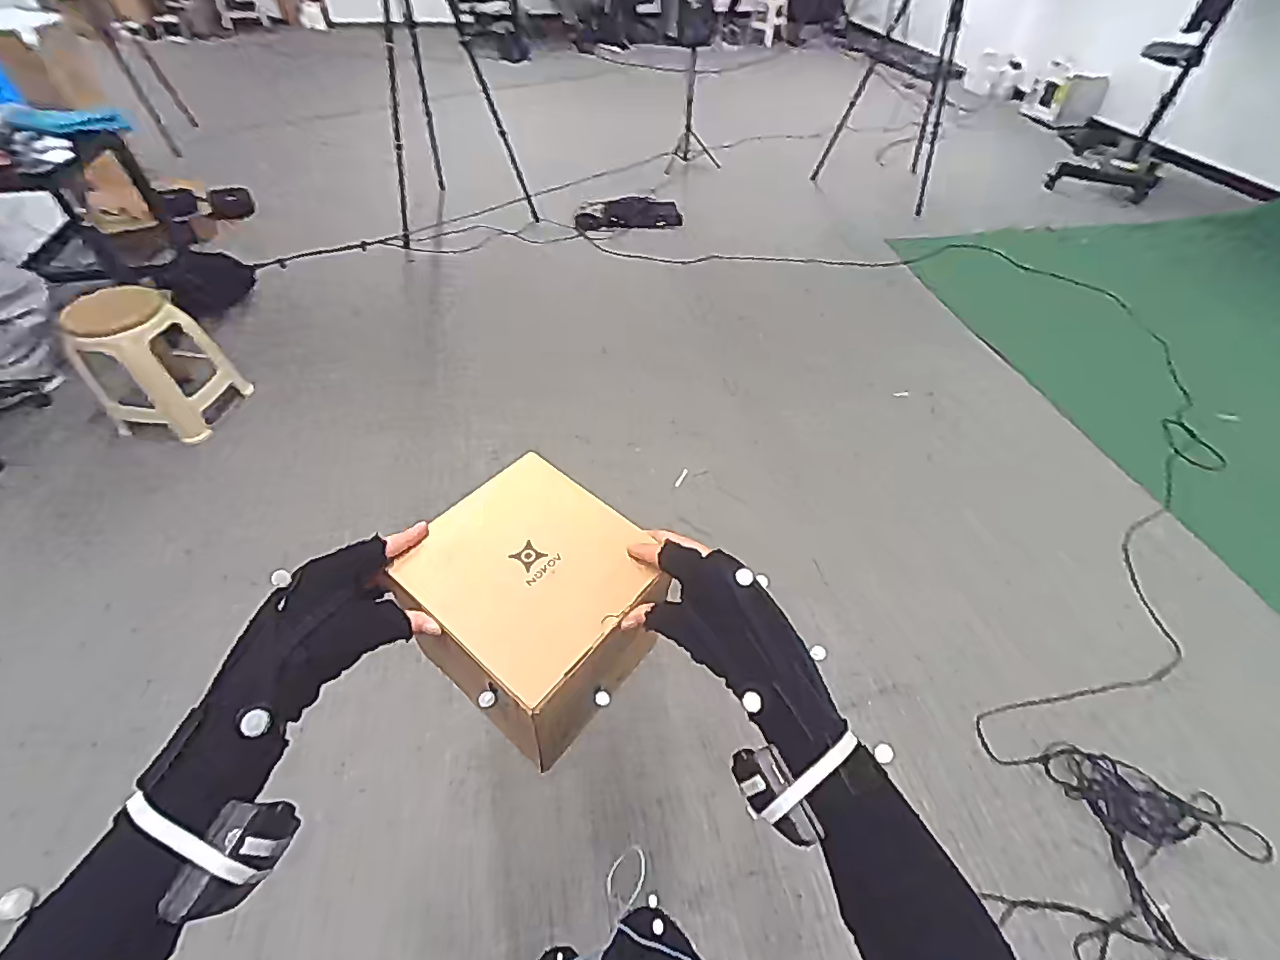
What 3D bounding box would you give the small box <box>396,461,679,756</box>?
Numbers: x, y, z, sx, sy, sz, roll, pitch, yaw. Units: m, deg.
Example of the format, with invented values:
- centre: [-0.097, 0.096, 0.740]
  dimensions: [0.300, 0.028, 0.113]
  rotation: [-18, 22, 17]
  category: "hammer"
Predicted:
- centre: [-0.090, 0.121, 0.506]
  dimensions: [0.179, 0.176, 0.168]
  rotation: [34, 54, 21]
  category: "small box"
